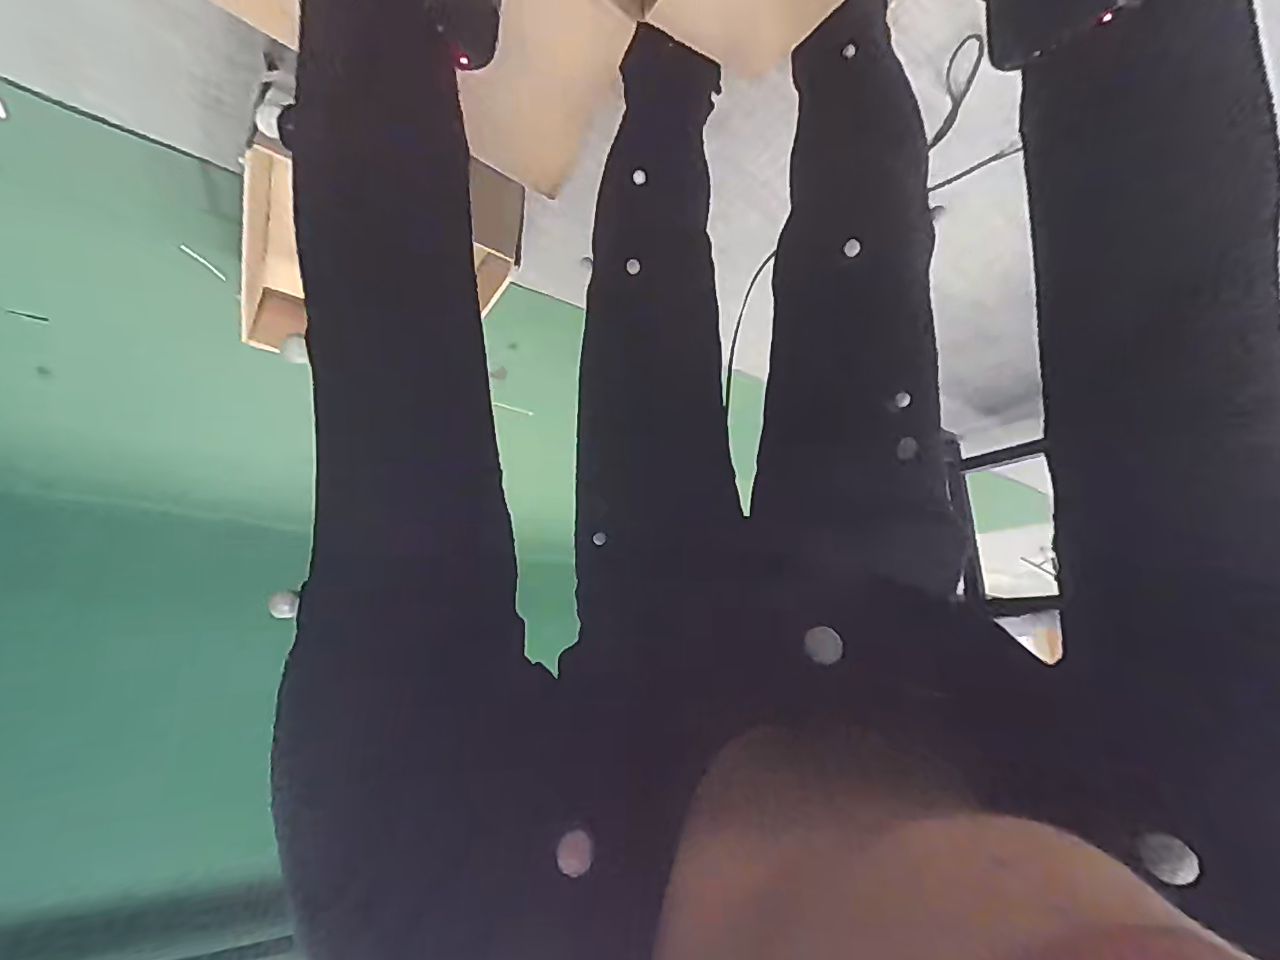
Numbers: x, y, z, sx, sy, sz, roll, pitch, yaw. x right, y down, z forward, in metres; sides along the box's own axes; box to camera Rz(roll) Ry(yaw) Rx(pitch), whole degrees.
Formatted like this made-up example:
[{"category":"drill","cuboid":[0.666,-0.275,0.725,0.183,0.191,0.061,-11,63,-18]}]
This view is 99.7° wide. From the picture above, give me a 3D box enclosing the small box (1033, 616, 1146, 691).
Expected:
[{"category":"small box","cuboid":[1.132,0.442,1.380,0.179,0.176,0.168,-9,161,25]}]
